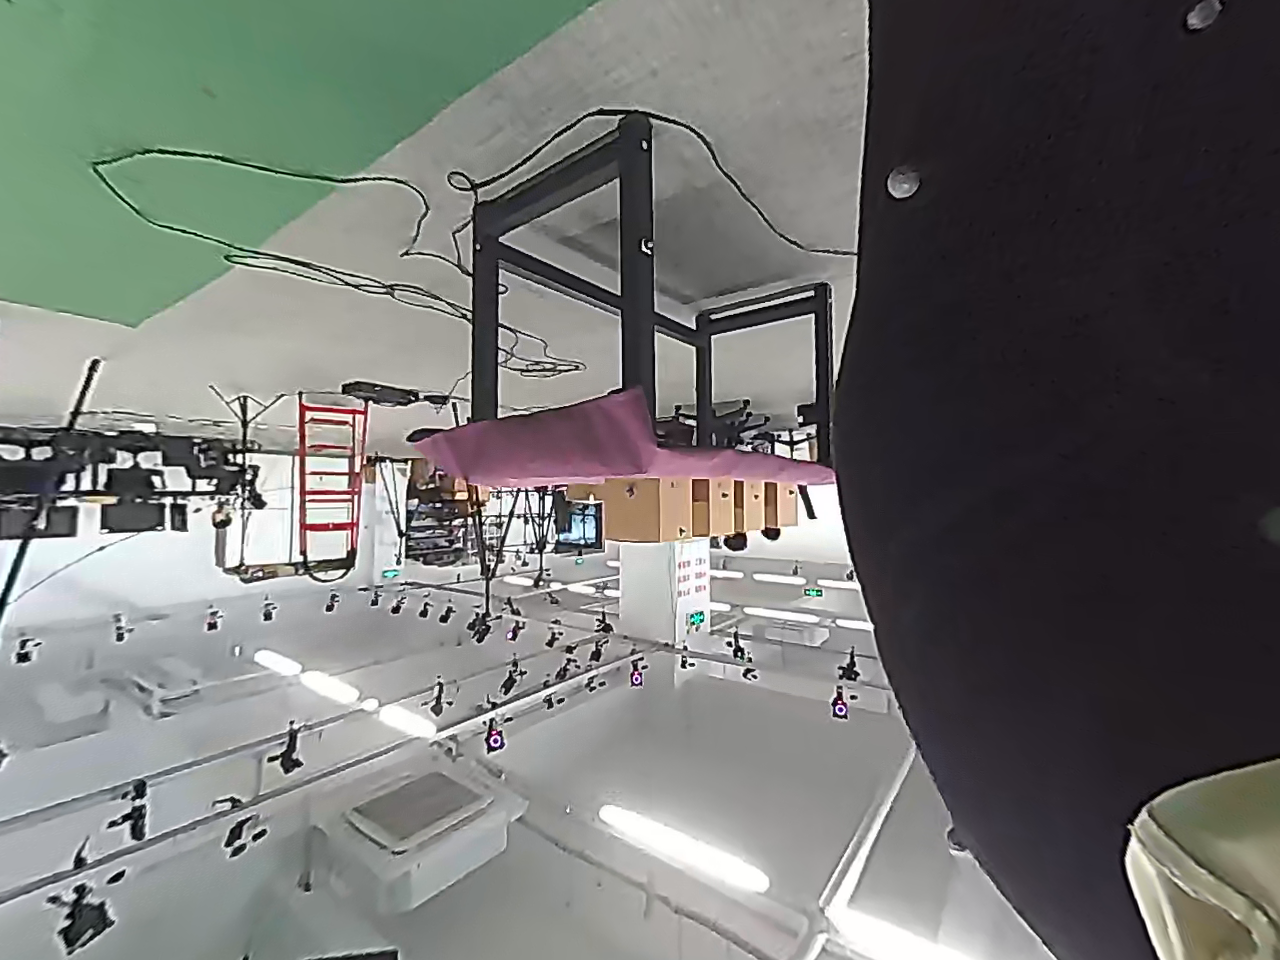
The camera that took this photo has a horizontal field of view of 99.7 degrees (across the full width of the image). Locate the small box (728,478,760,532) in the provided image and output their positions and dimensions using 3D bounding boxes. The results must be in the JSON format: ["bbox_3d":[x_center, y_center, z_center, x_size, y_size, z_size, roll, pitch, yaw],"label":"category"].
[{"bbox_3d":[0.298,0.084,1.829,0.179,0.176,0.168,-2,178,36],"label":"small box"}]

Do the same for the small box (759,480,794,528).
[{"bbox_3d":[0.463,0.089,2.017,0.179,0.176,0.168,-2,178,41],"label":"small box"}]

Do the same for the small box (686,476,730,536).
[{"bbox_3d":[0.164,0.078,1.637,0.179,0.176,0.168,-2,178,34],"label":"small box"}]

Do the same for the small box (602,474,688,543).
[{"bbox_3d":[0.018,0.072,1.440,0.179,0.176,0.168,-1,179,35],"label":"small box"}]
